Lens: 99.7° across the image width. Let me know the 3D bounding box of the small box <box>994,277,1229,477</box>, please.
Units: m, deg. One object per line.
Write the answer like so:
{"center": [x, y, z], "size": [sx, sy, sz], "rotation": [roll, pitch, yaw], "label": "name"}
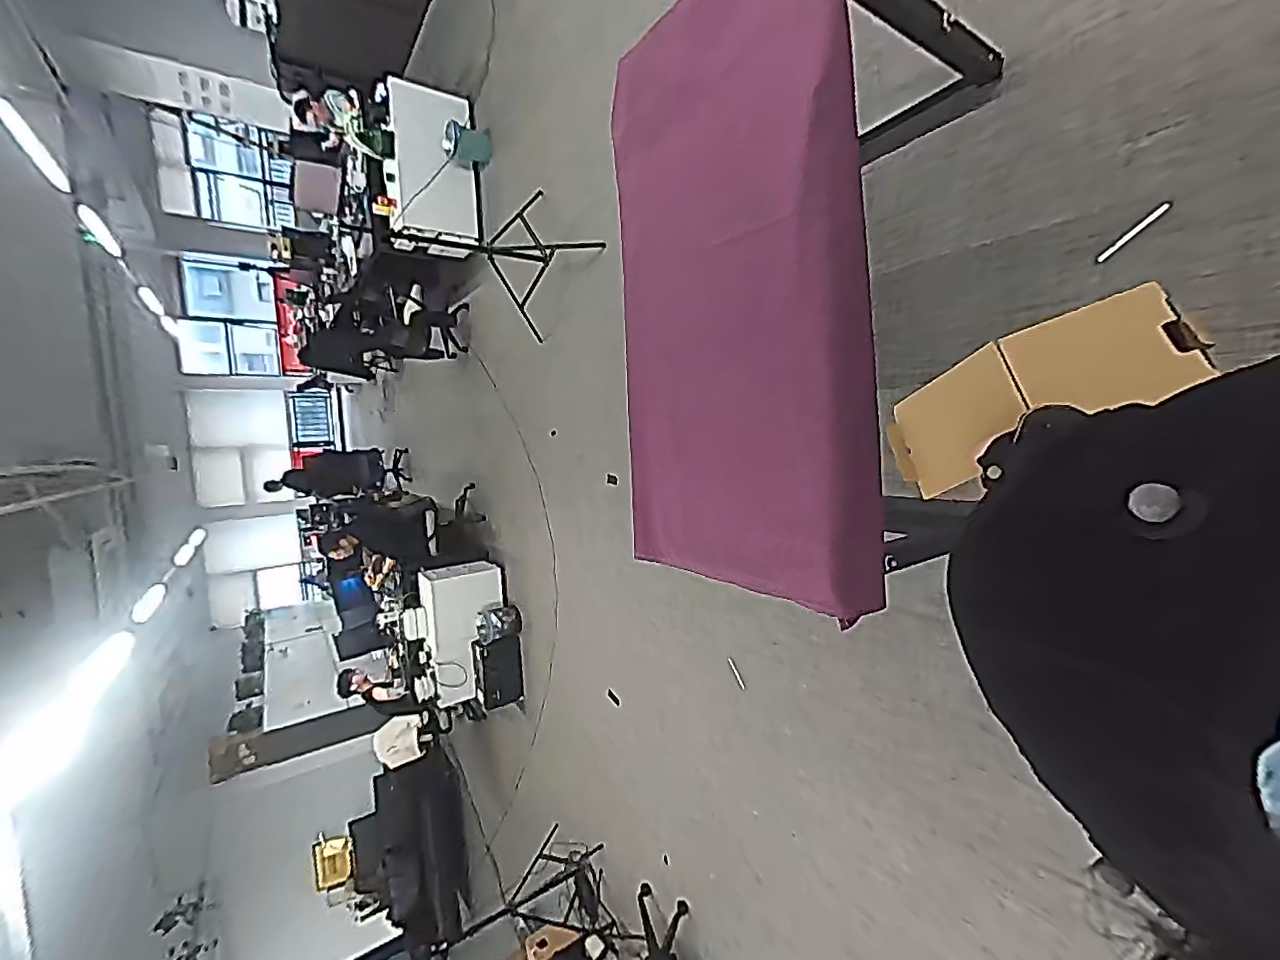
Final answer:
{"center": [0.595, -0.119, 0.709], "size": [0.179, 0.176, 0.168], "rotation": [-20, 63, 28], "label": "small box"}
